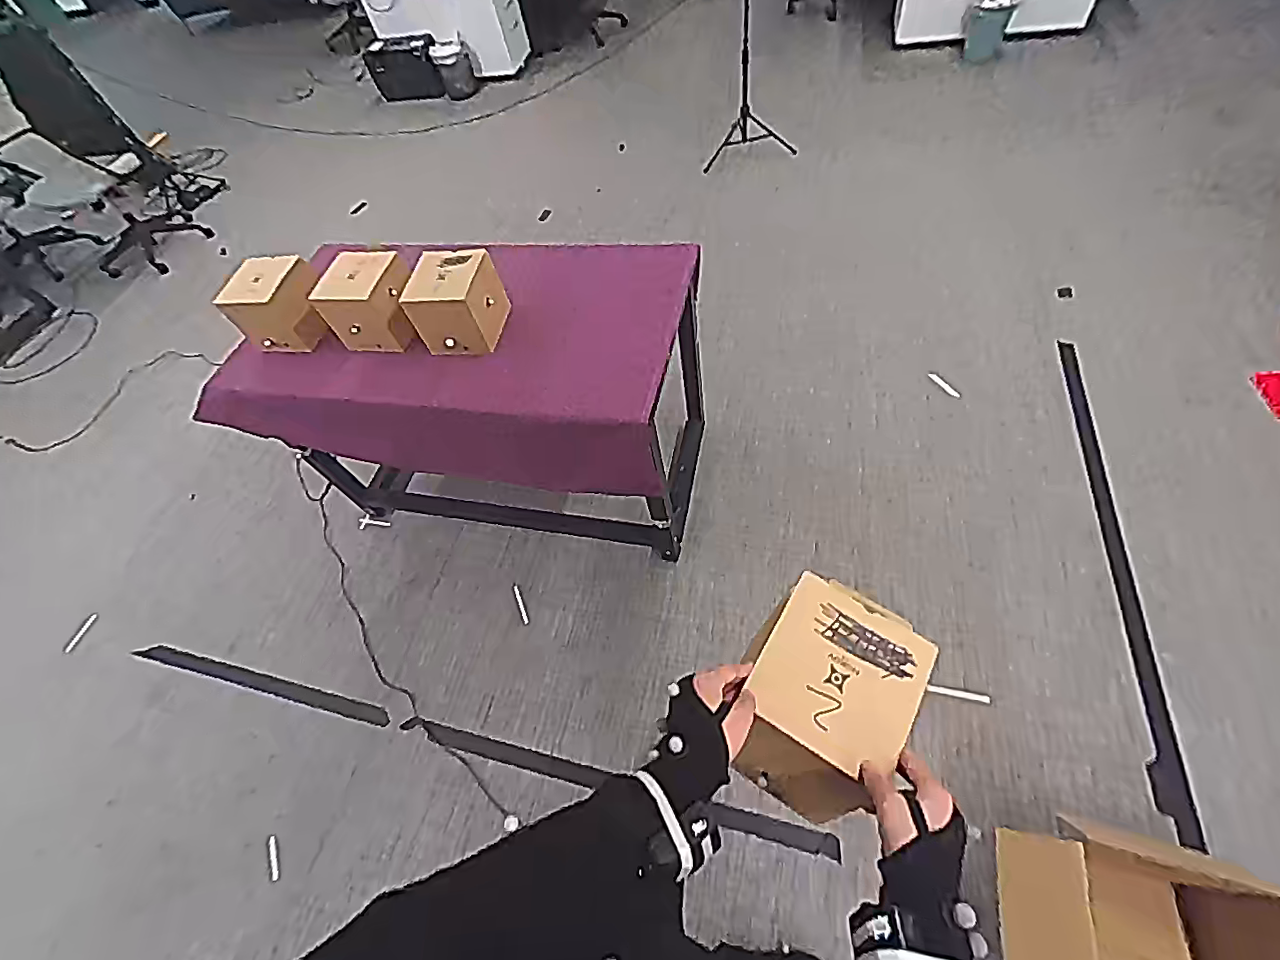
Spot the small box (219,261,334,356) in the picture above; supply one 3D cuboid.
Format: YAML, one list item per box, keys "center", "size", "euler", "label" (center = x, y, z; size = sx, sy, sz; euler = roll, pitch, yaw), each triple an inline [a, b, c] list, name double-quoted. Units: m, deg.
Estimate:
- center: [-0.933, -0.451, 1.423]
  size: [0.168, 0.176, 0.179]
  euler: [3, 57, 13]
  label: "small box"

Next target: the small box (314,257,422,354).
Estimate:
- center: [-0.664, -0.438, 1.366]
  size: [0.168, 0.176, 0.179]
  euler: [6, 58, 13]
  label: "small box"

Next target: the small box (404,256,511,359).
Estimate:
- center: [-0.430, -0.416, 1.311]
  size: [0.168, 0.176, 0.179]
  euler: [2, 58, 12]
  label: "small box"
